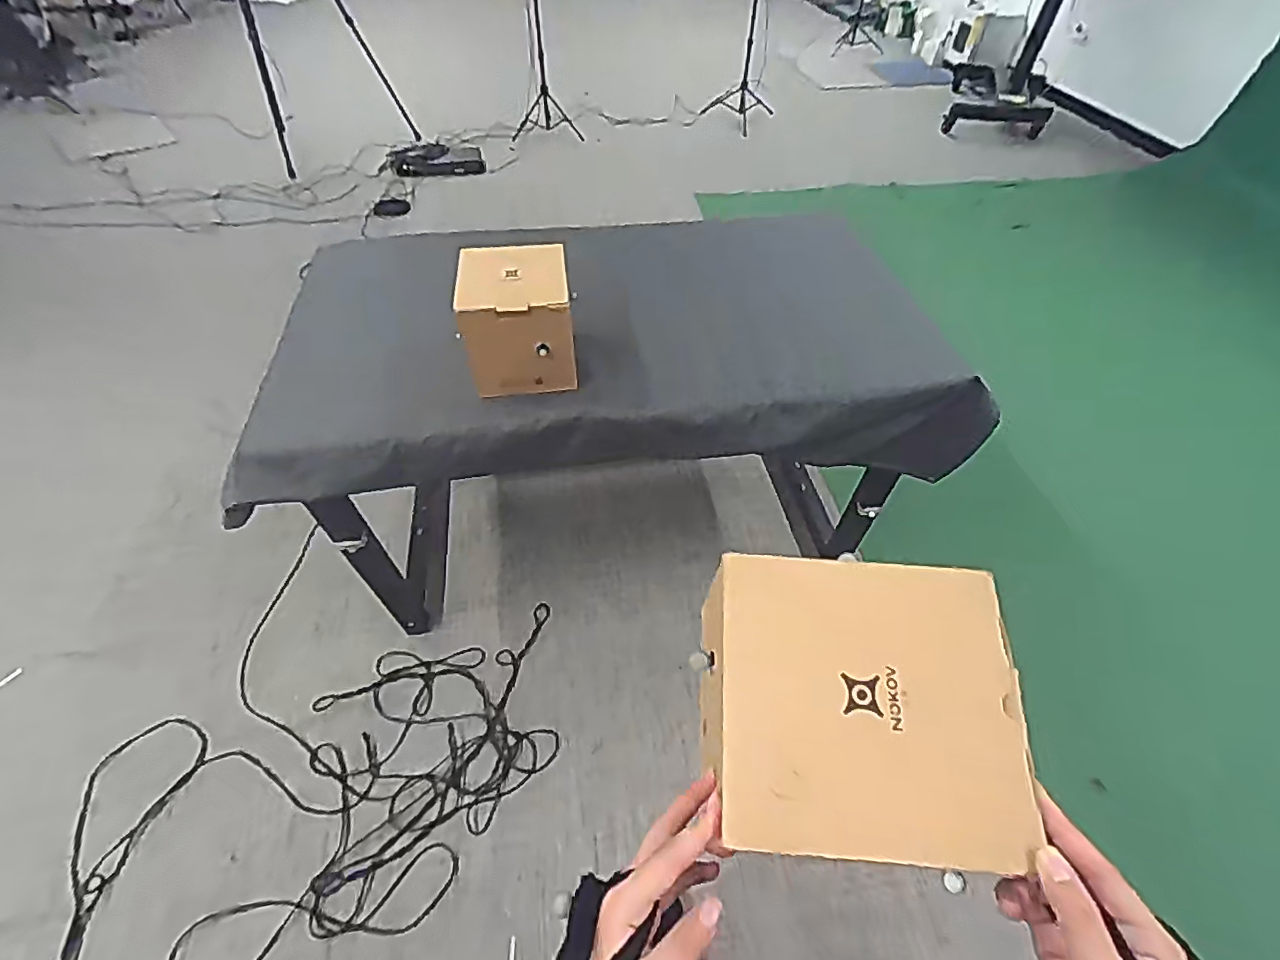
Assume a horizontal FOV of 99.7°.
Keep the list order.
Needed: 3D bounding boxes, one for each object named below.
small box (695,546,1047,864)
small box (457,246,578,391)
[{"bbox_3d":[0.134,0.156,0.391,0.179,0.176,0.168,4,65,2],"label":"small box"},{"bbox_3d":[-0.192,-0.258,0.885,0.168,0.176,0.179,-5,50,-7],"label":"small box"}]
